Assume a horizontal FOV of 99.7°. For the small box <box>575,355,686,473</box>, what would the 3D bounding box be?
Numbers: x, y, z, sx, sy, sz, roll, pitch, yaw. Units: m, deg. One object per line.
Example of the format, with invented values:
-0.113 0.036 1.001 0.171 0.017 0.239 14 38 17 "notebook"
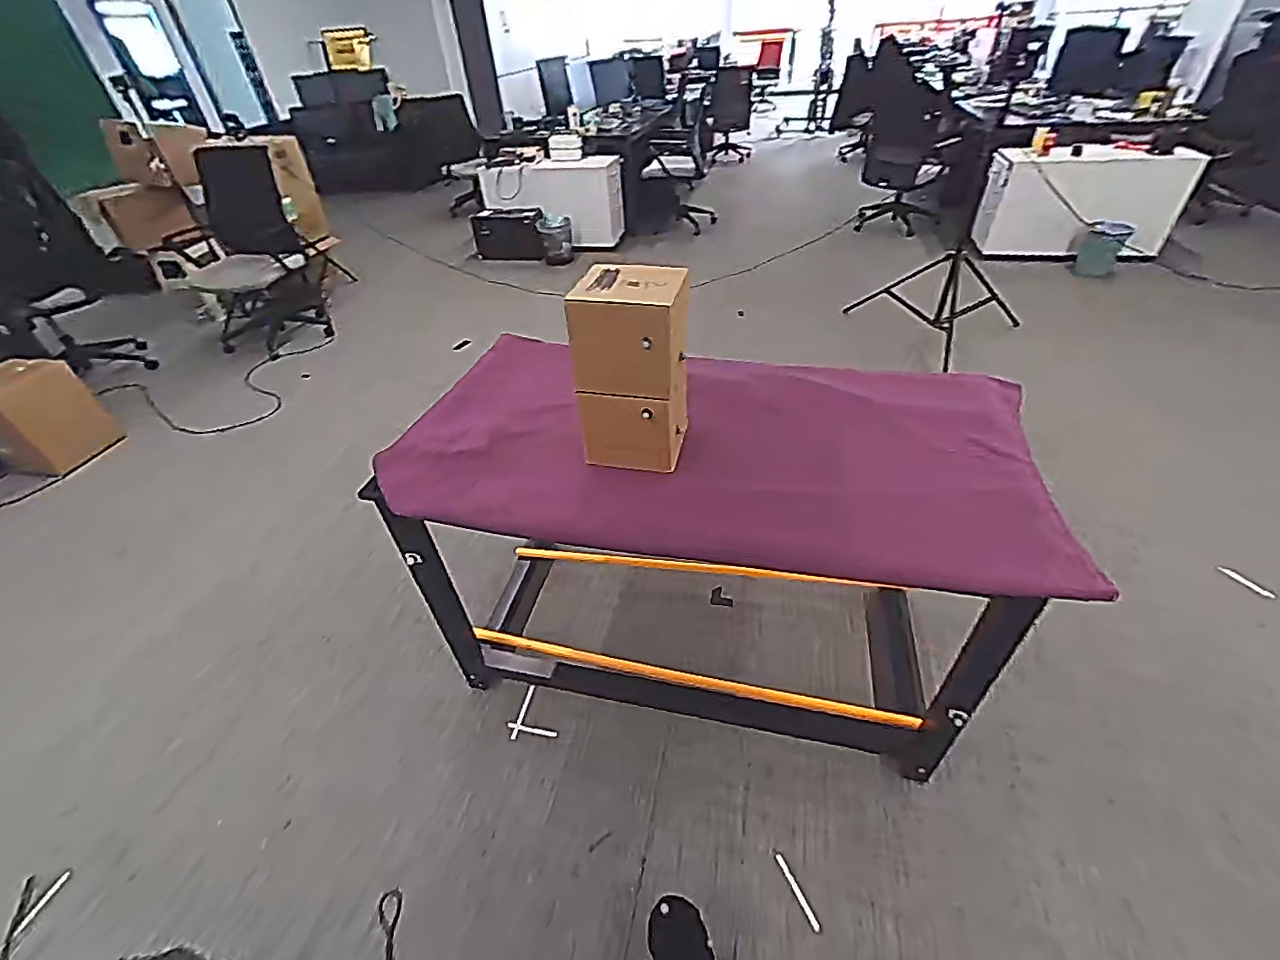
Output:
-0.010 -0.129 1.058 0.179 0.176 0.168 7 41 12 "small box"
